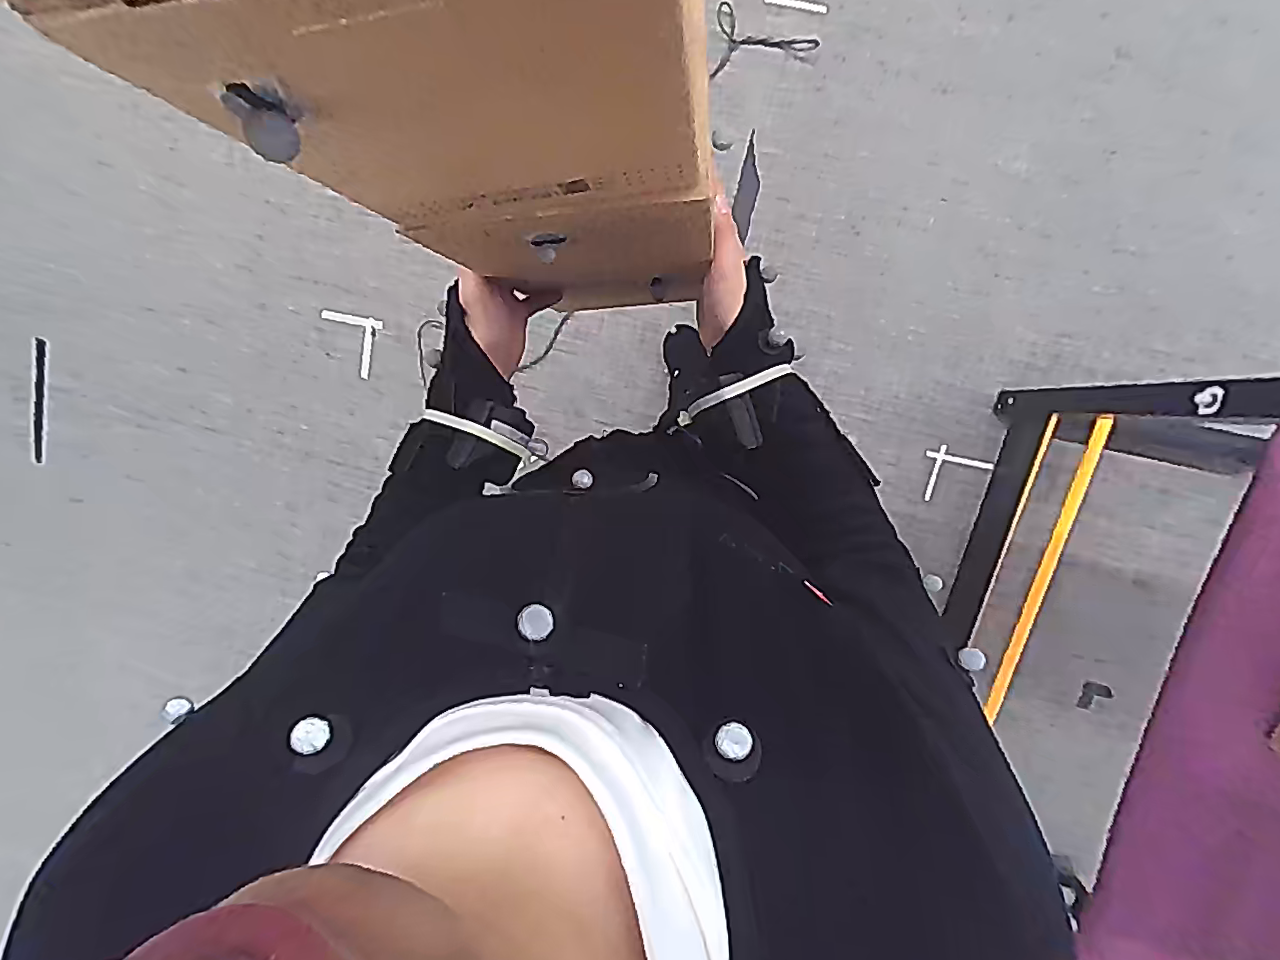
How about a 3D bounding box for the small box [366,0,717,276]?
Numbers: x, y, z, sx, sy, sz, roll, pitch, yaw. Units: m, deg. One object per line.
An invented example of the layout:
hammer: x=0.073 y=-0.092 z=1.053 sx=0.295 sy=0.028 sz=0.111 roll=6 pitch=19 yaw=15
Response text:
small box: x=-0.042 y=-0.236 z=0.343 sx=0.179 sy=0.176 sz=0.168 roll=-2 pitch=99 yaw=7
